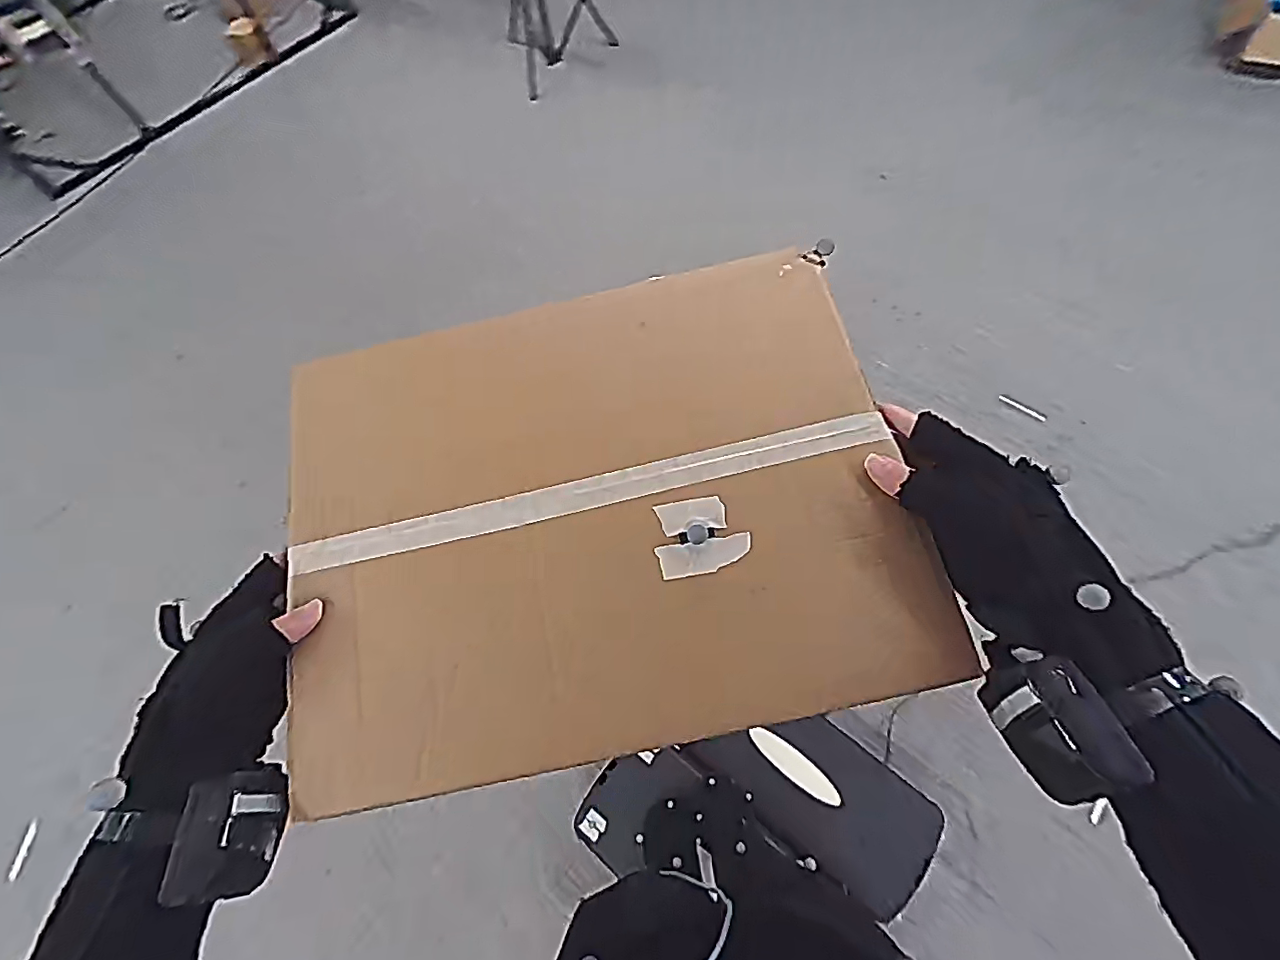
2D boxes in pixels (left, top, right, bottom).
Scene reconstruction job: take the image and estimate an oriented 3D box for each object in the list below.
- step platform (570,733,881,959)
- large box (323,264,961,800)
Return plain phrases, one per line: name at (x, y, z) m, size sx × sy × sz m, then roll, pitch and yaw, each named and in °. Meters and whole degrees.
step platform at (0.168, 0.867, 1.215) m, size 0.684 × 0.204 × 0.286 m, roll 34°, pitch 72°, yaw 22°
large box at (-0.015, 0.062, 0.516) m, size 0.408 × 0.320 × 0.320 m, roll -12°, pitch 71°, yaw 2°
